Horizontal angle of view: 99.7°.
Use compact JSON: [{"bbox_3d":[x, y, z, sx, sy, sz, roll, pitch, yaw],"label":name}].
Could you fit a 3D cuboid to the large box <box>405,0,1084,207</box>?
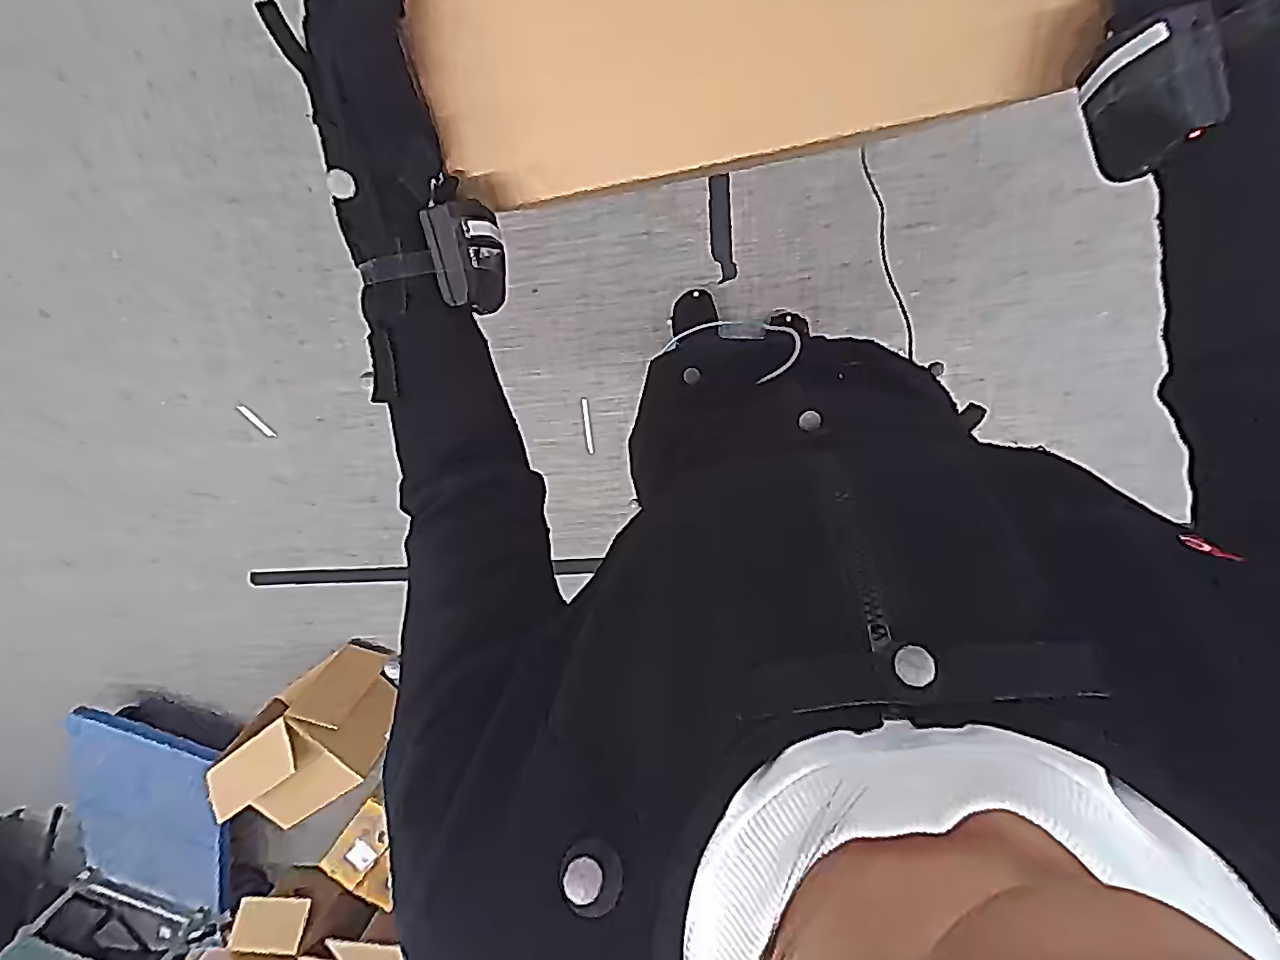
[{"bbox_3d":[0.049,-0.425,0.422,0.408,0.320,0.320,-8,117,8],"label":"large box"}]
